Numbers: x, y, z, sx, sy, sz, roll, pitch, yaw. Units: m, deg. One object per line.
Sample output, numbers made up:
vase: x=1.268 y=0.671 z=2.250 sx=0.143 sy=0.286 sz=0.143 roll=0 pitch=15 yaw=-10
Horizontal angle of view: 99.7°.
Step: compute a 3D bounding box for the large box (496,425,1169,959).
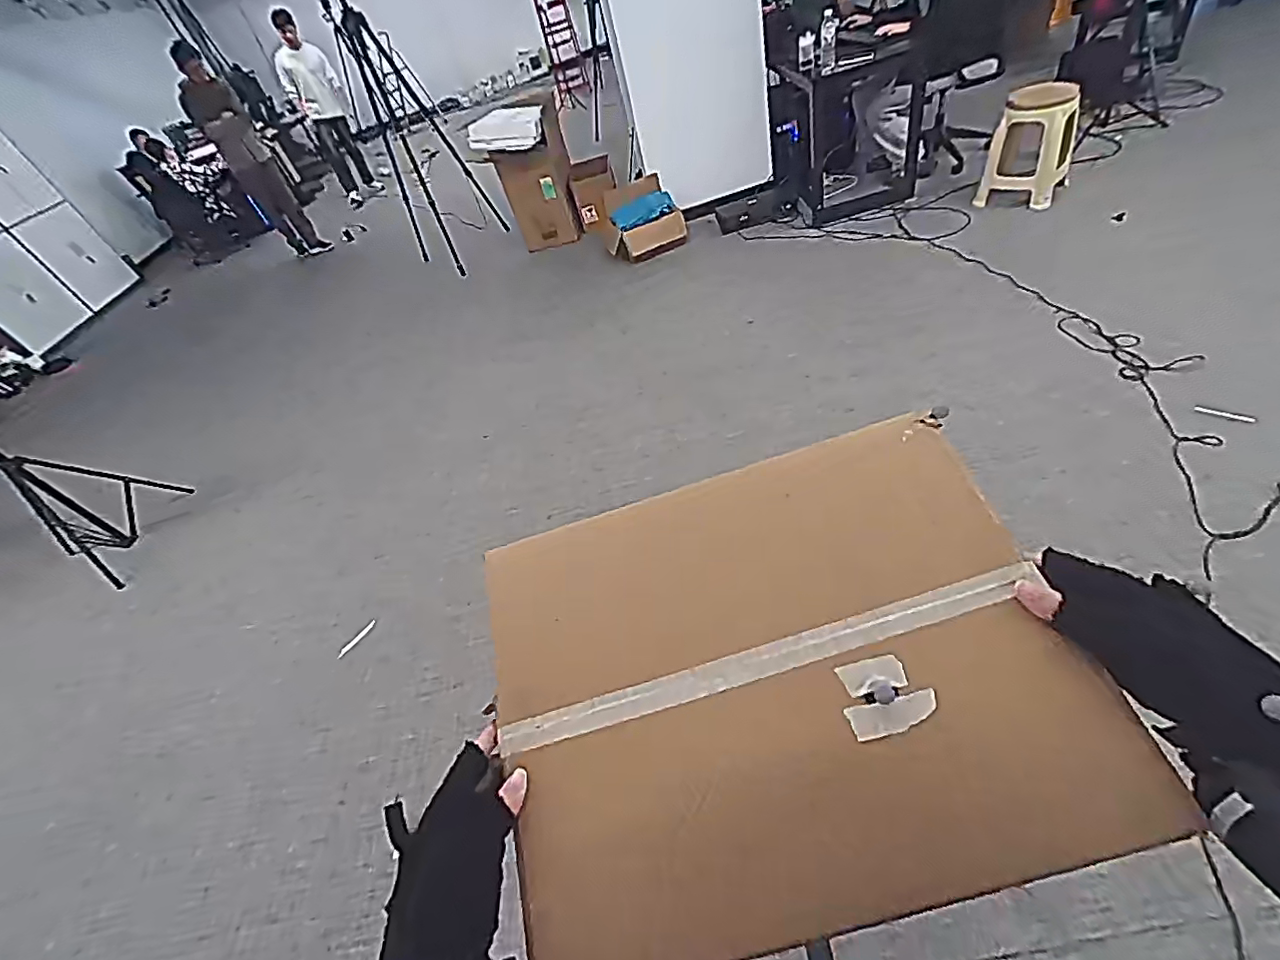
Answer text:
large box: x=0.122 y=0.210 z=0.533 sx=0.408 sy=0.320 sz=0.320 roll=-19 pitch=60 yaw=2
